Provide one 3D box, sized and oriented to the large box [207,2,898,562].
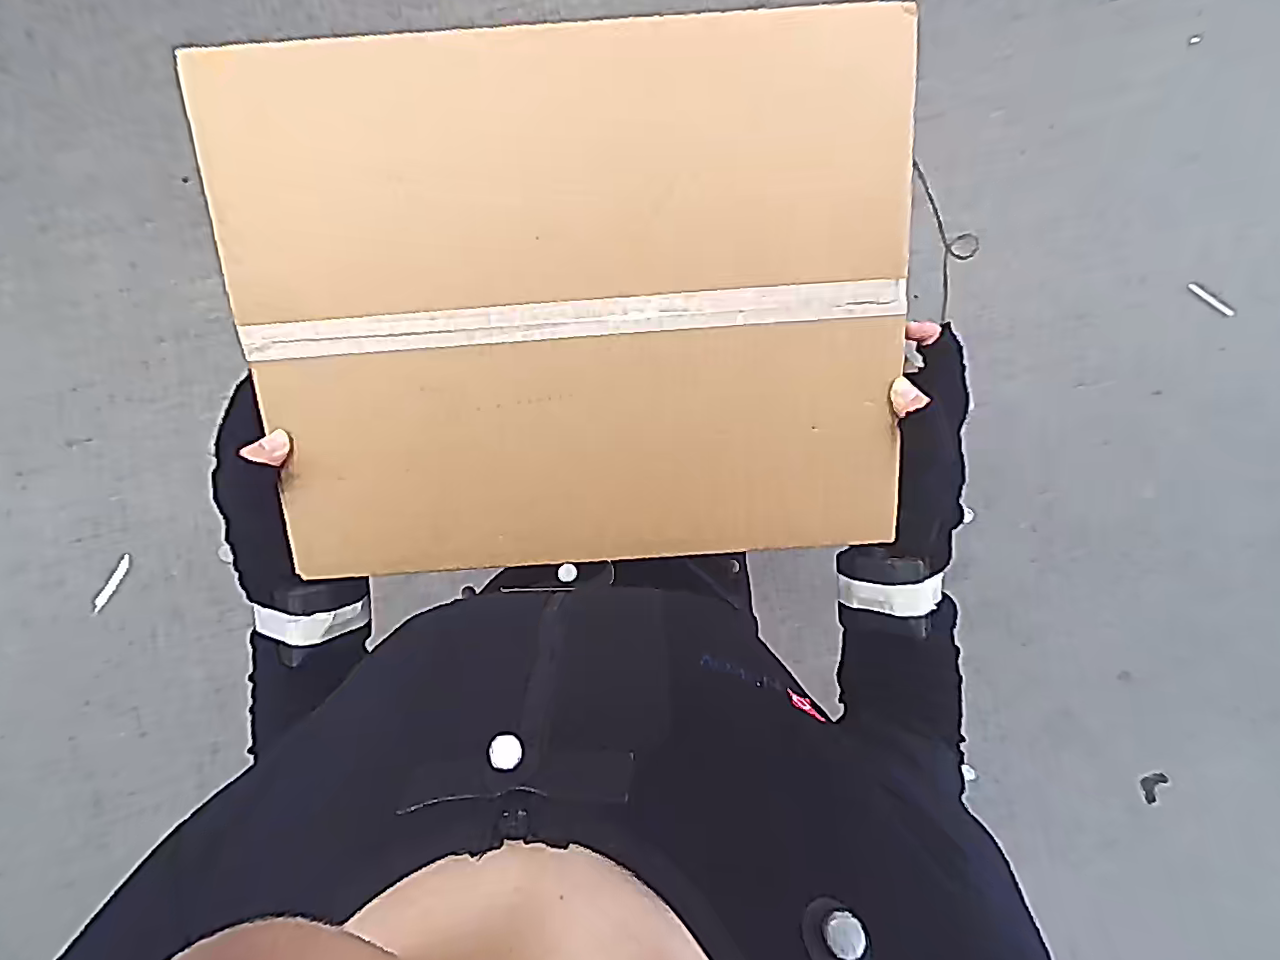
[{"bbox_3d":[-0.044,-0.139,0.484,0.408,0.320,0.320,-4,104,0],"label":"large box"}]
